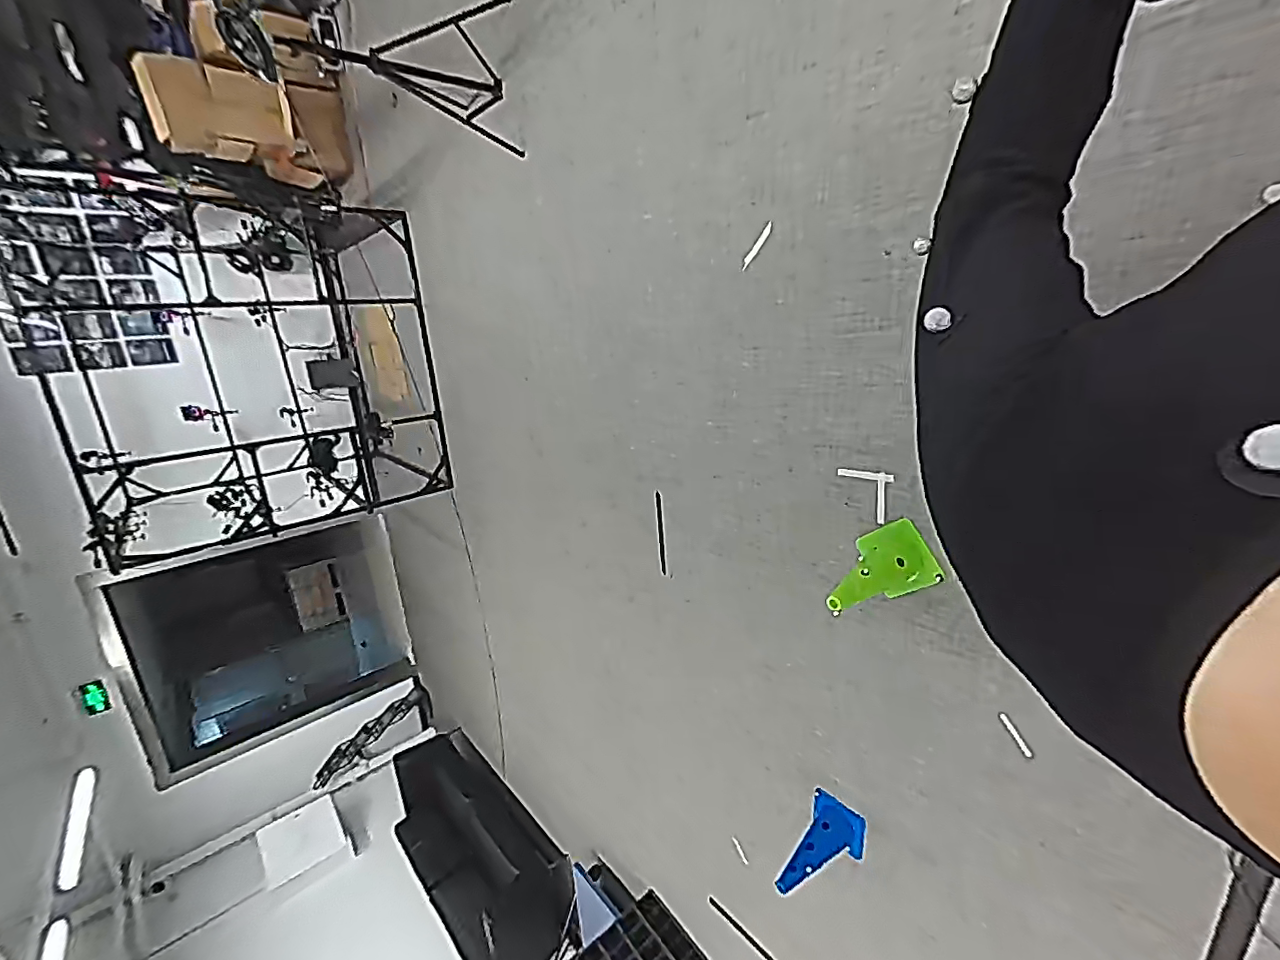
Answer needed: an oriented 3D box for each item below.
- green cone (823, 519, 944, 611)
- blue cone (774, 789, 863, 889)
[{"bbox_3d":[0.622,0.269,1.478,0.202,0.368,0.200,-45,68,51],"label":"green cone"},{"bbox_3d":[0.612,1.313,1.915,0.192,0.380,0.193,20,118,48],"label":"blue cone"}]
